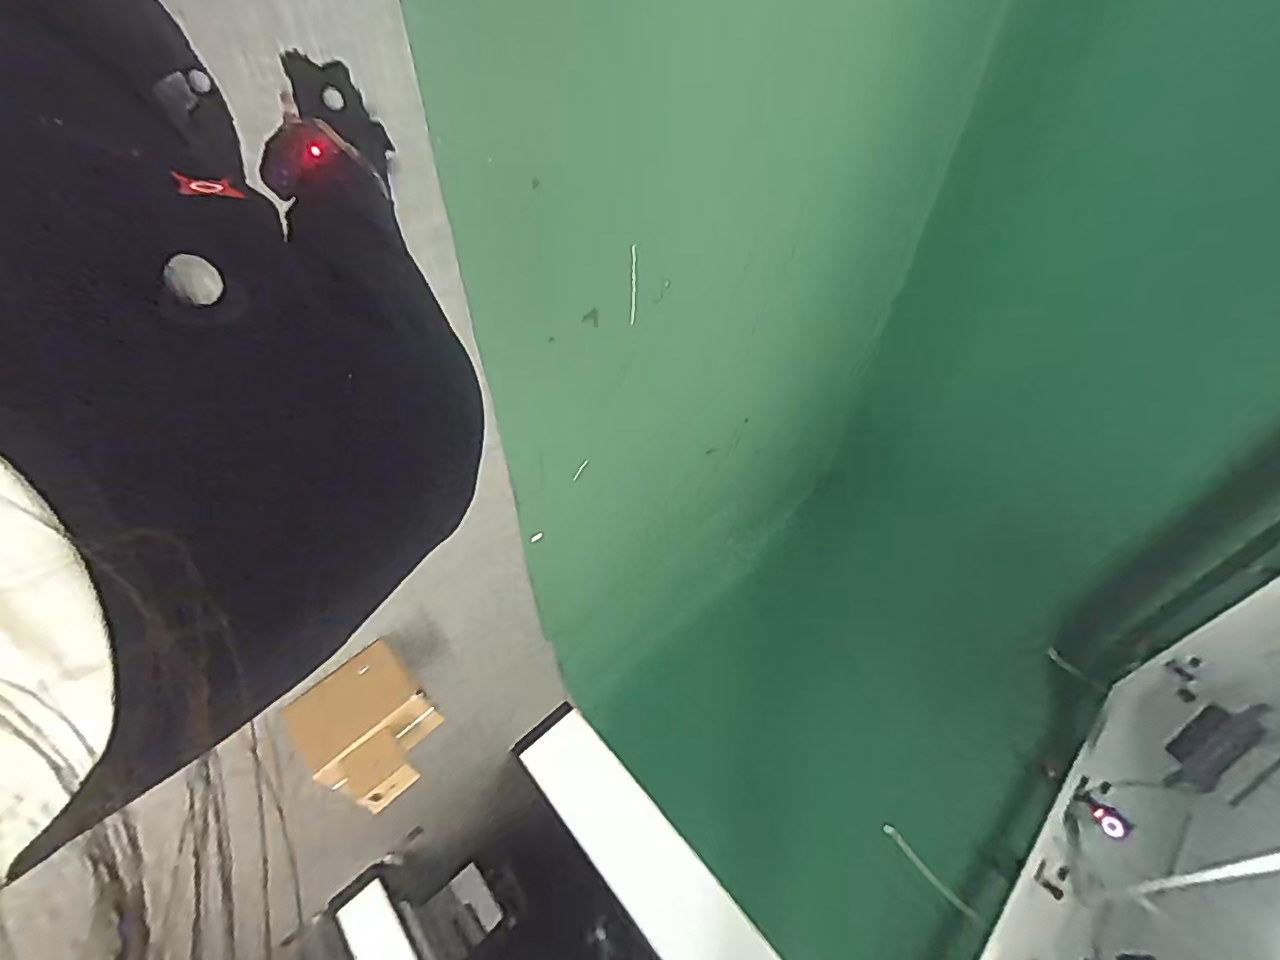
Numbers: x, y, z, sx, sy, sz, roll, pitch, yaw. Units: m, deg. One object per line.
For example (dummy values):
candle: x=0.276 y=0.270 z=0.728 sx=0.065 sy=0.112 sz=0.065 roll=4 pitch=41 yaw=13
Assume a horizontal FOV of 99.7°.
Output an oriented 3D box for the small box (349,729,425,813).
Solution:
small box: x=-0.903 y=1.029 z=1.920 sx=0.179 sy=0.176 sz=0.168 roll=-36 pitch=145 yaw=-27
